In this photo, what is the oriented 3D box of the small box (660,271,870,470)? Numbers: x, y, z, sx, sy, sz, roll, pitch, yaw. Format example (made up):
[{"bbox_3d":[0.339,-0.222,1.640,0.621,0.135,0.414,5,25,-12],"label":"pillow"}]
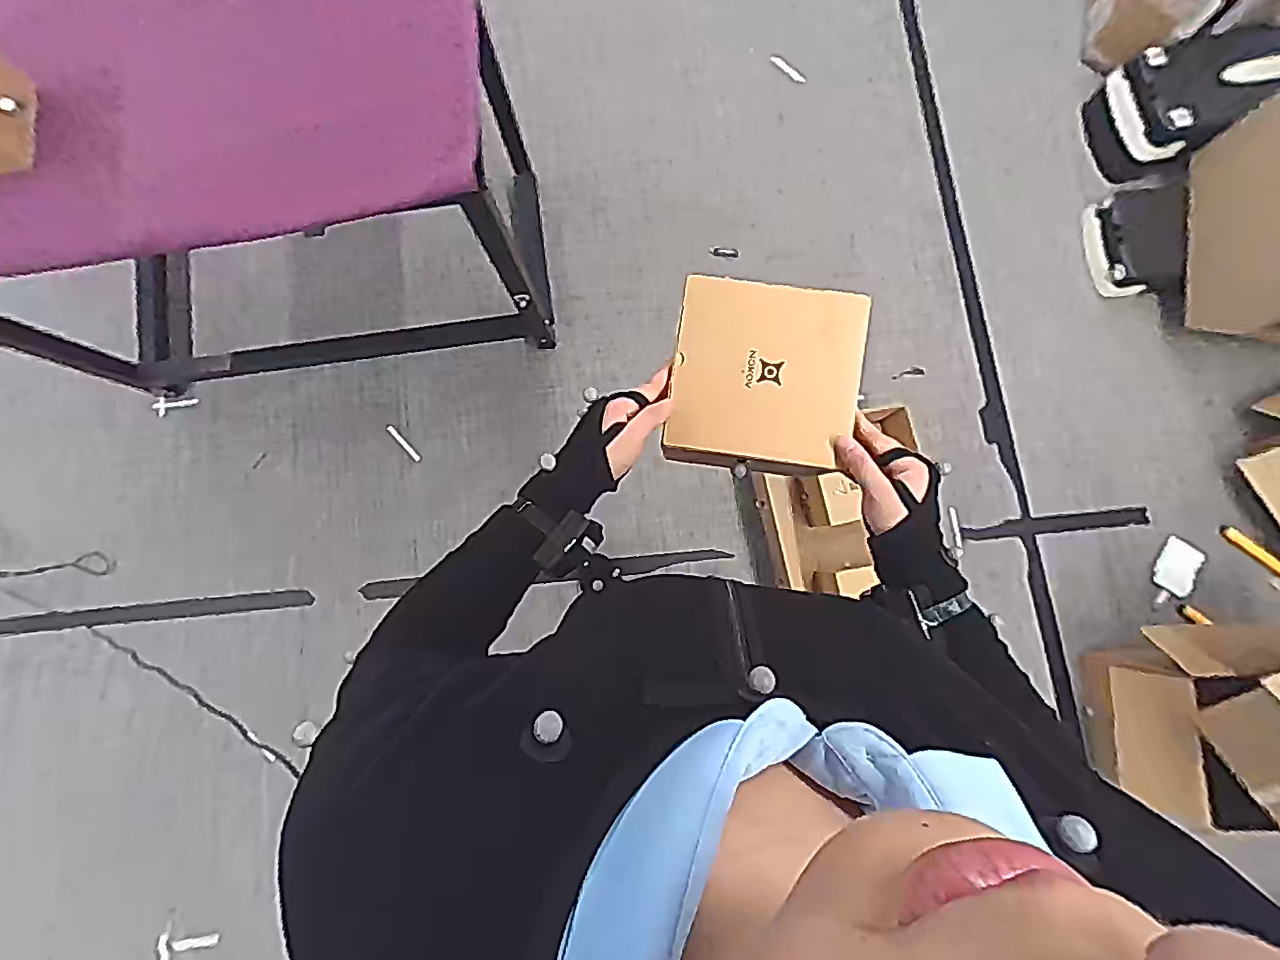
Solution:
[{"bbox_3d":[0.121,-0.103,0.582,0.179,0.176,0.168,8,89,5],"label":"small box"}]

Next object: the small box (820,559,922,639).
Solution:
[{"bbox_3d":[0.569,0.295,1.362,0.179,0.176,0.168,-10,82,-1],"label":"small box"}]
